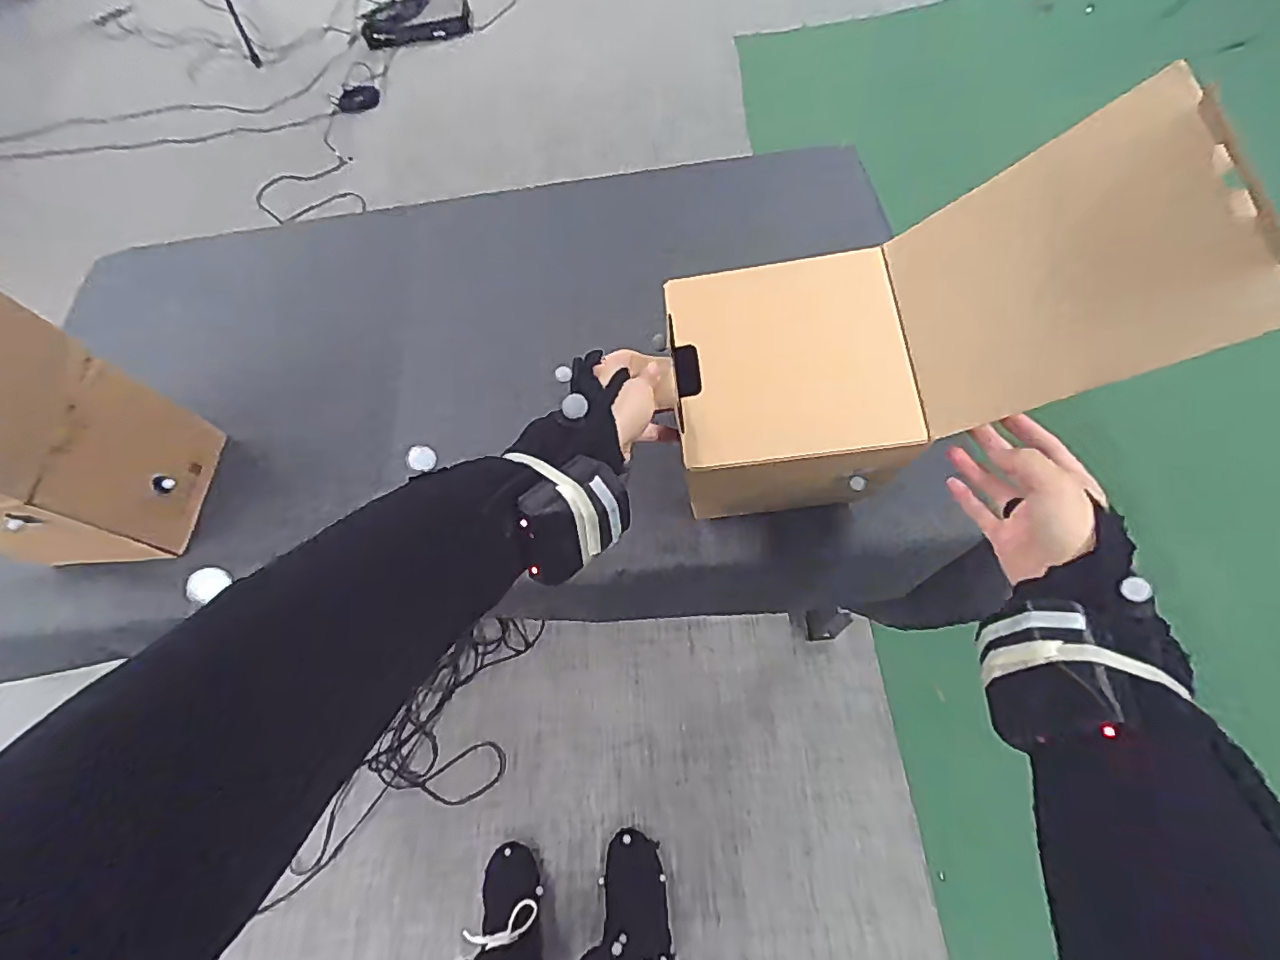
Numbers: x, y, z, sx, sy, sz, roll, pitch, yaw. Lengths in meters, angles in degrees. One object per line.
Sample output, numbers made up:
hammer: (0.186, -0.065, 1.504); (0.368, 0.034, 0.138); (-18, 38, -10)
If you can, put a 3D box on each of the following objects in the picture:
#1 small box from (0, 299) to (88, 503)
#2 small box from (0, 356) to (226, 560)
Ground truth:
small box: (-0.638, -0.080, 0.452); (0.168, 0.176, 0.179); (-8, 62, 2)
small box: (-0.625, -0.014, 0.599); (0.179, 0.176, 0.168); (-3, 63, 5)
